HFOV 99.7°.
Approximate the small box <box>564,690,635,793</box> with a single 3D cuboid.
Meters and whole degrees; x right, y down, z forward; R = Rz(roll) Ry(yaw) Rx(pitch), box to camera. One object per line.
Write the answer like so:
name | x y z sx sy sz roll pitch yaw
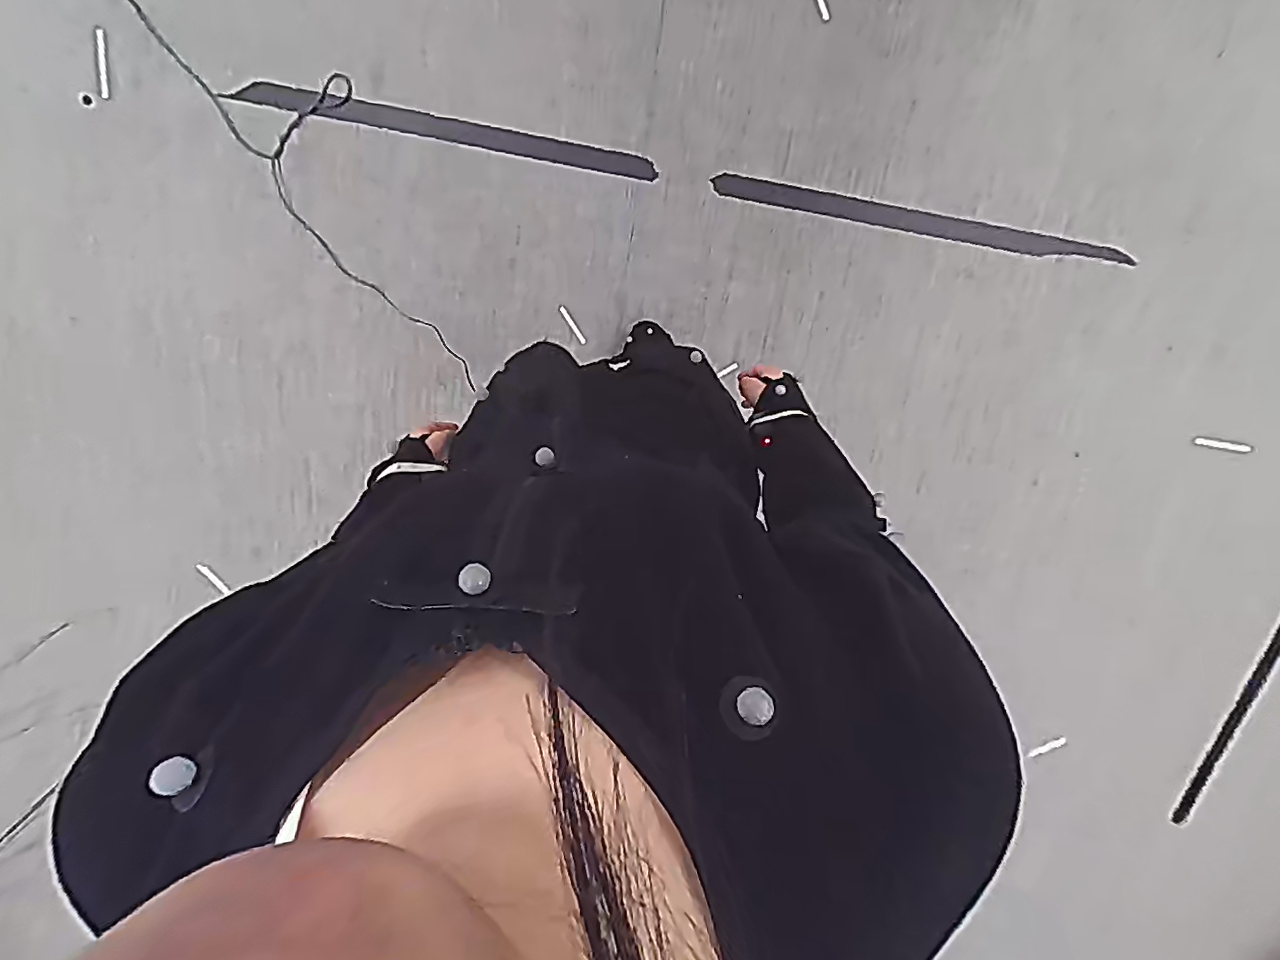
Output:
small box | -0.103 0.690 1.436 0.168 0.176 0.179 5 107 0
